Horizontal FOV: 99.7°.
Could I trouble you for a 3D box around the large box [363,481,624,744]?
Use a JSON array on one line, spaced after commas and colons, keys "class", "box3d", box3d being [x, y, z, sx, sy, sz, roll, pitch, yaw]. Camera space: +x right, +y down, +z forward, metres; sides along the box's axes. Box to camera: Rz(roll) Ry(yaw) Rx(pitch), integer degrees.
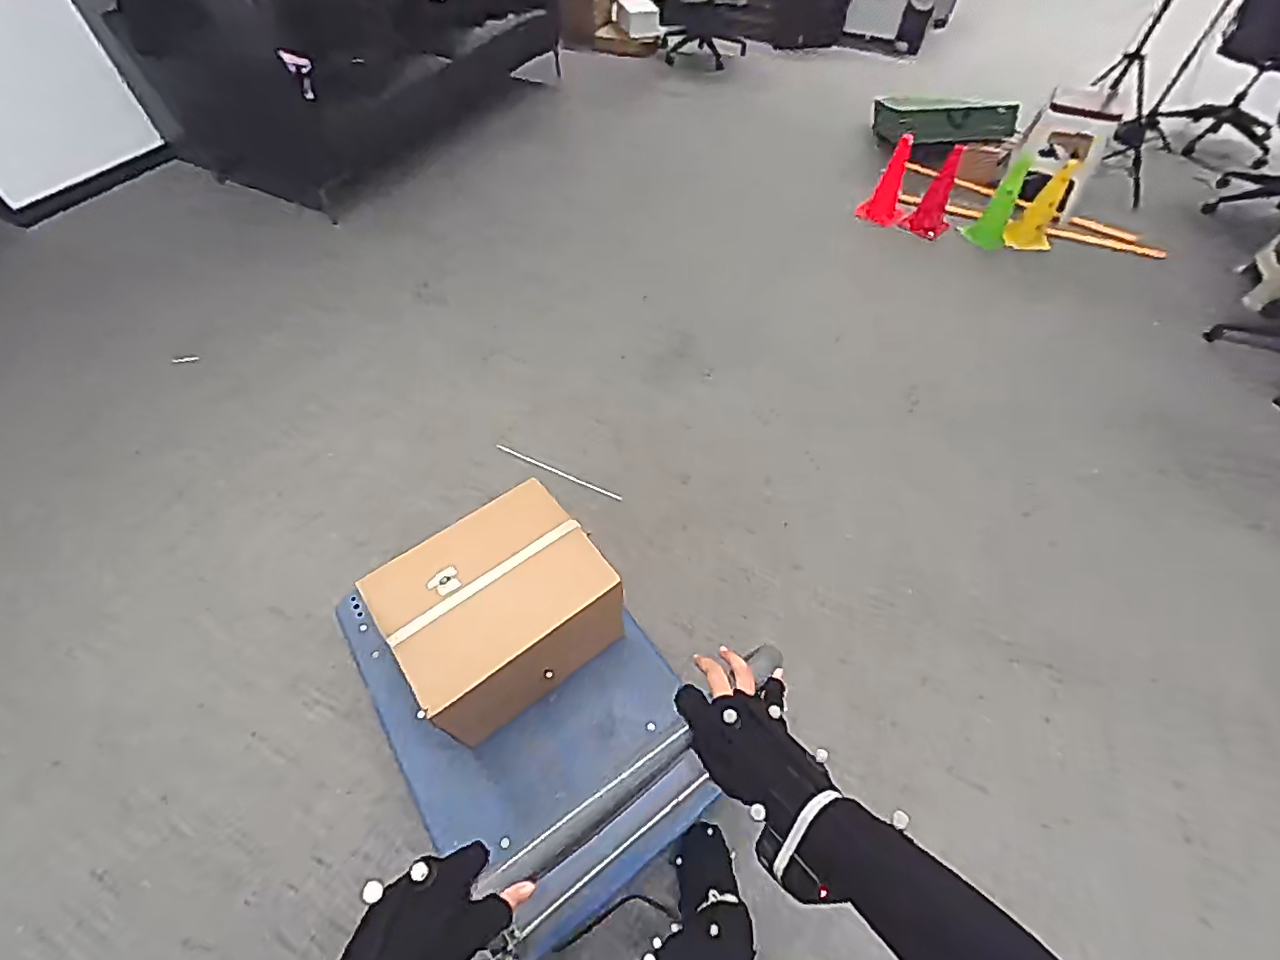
[{"class": "large box", "box3d": [-0.283, 0.283, 1.159, 0.408, 0.320, 0.320, -33, 61, -20]}]
